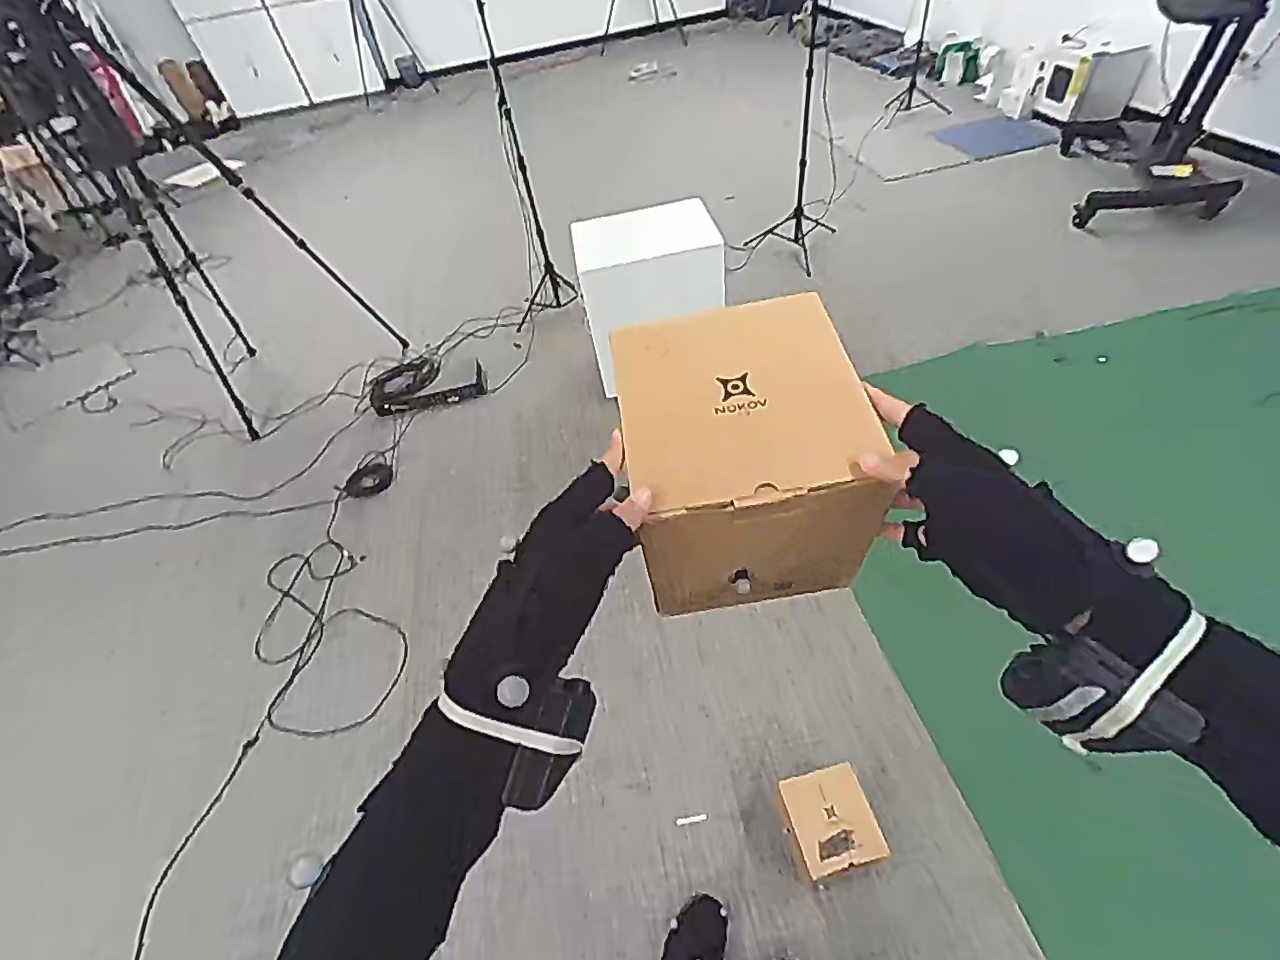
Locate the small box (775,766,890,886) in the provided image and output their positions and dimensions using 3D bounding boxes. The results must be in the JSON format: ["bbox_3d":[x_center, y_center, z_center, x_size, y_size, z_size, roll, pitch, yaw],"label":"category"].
[{"bbox_3d":[0.399,0.740,1.150,0.168,0.176,0.179,-14,48,-3],"label":"small box"}]
